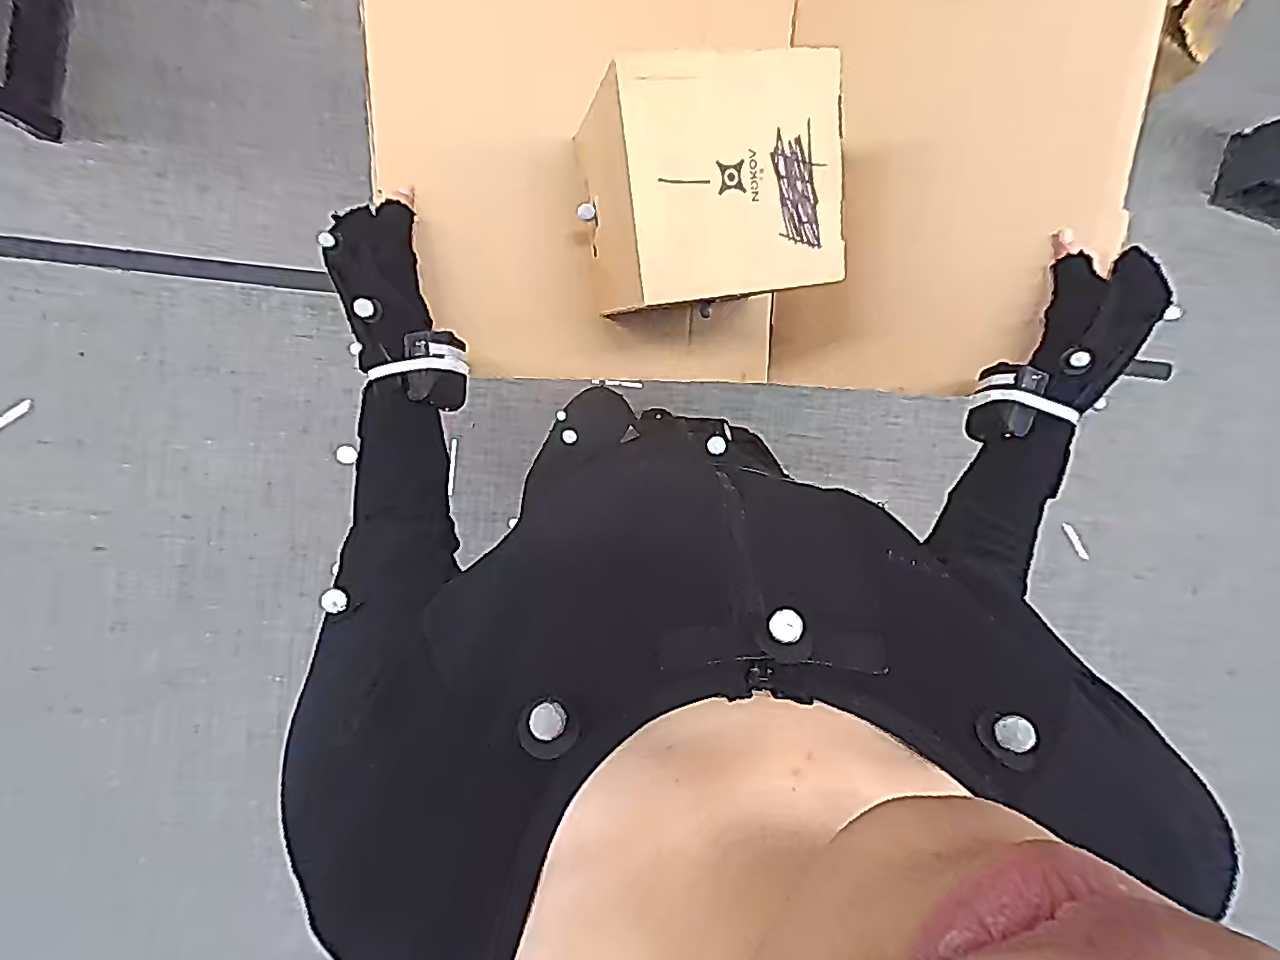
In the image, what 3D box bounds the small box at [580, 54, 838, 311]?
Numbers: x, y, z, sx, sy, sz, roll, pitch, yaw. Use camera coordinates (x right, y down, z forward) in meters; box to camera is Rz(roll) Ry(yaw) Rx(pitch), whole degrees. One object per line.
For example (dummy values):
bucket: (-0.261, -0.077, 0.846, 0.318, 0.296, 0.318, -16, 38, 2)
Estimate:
small box: (0.054, -0.249, 0.488, 0.179, 0.176, 0.168, -11, 106, -13)
